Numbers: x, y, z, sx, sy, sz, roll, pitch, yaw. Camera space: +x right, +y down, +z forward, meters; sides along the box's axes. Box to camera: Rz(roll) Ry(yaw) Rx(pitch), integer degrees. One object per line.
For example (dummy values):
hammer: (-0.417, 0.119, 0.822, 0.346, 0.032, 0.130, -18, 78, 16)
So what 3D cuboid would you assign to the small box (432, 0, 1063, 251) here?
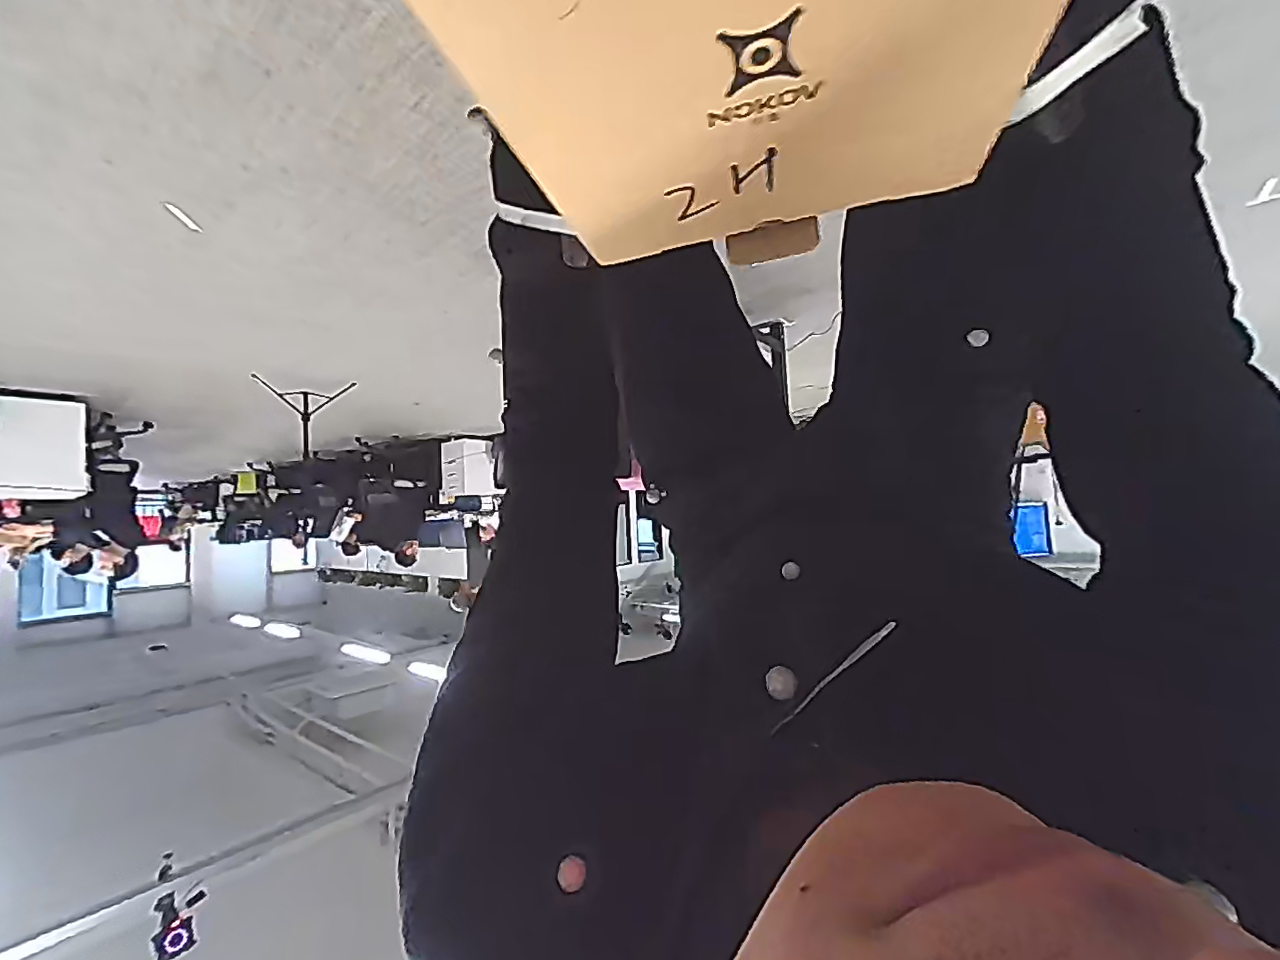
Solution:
small box: (0.029, -0.207, 0.168, 0.168, 0.176, 0.179, -6, 174, 14)
